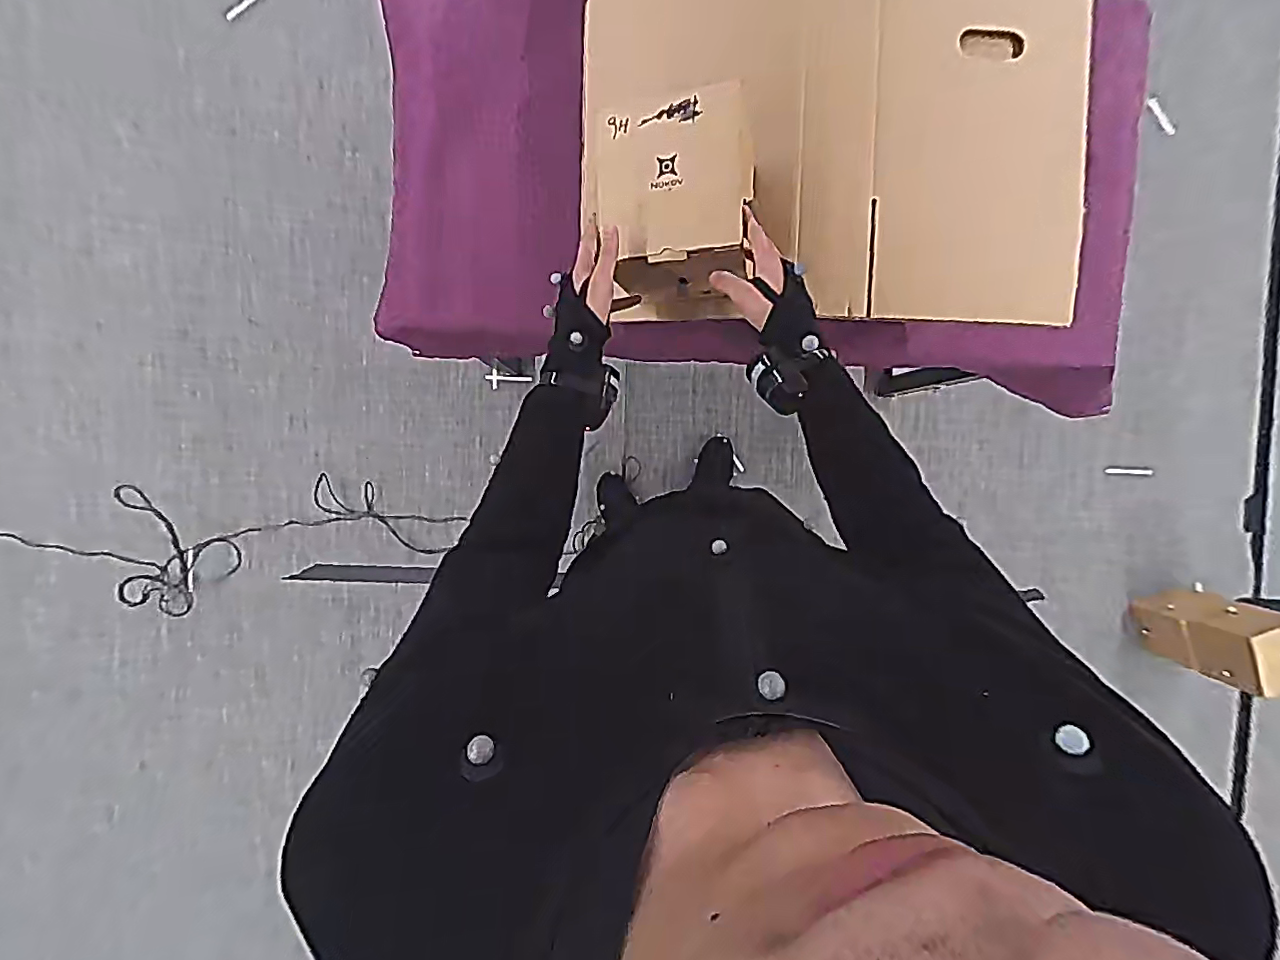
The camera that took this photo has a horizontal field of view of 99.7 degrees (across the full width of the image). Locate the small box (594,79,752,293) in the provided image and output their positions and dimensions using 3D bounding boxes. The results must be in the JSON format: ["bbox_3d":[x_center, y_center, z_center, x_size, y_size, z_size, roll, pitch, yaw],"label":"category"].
[{"bbox_3d":[0.049,-0.338,0.666,0.168,0.176,0.179,0,93,15],"label":"small box"}]
